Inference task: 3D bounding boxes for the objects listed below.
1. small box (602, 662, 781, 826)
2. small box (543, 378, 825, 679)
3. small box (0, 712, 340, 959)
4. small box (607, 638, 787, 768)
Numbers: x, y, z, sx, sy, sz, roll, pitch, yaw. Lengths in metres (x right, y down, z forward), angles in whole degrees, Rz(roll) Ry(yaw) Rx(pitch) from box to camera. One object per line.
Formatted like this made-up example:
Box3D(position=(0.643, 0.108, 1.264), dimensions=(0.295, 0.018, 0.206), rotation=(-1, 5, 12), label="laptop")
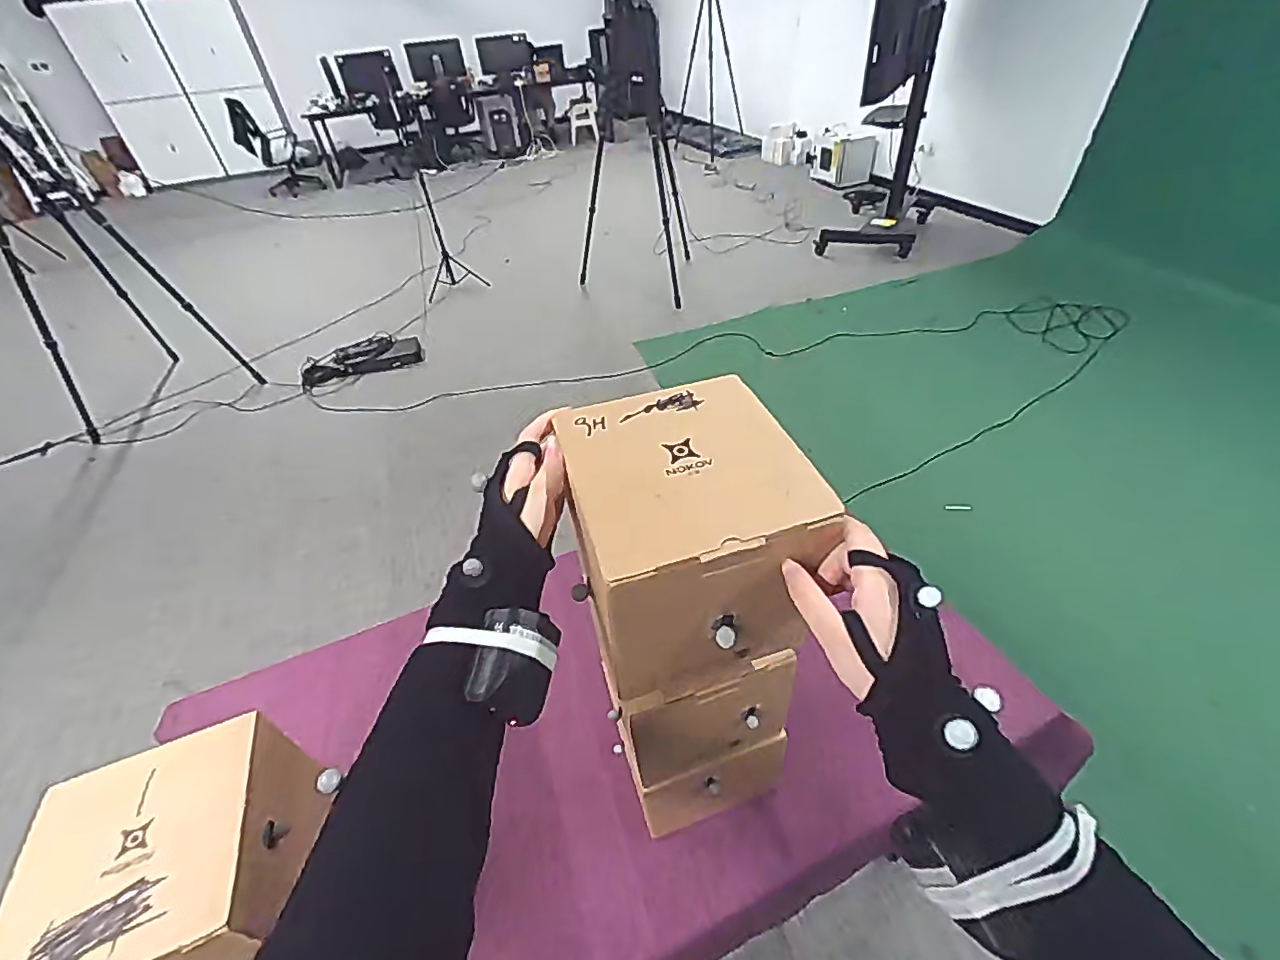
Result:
Box3D(position=(0.064, 0.316, 0.703), dimensions=(0.179, 0.176, 0.168), rotation=(-16, 44, -9), label="small box")
Box3D(position=(0.027, 0.045, 0.455), dimensions=(0.168, 0.176, 0.179), rotation=(-14, 47, -10), label="small box")
Box3D(position=(-0.391, 0.353, 0.485), dimensions=(0.168, 0.176, 0.179), rotation=(-19, 42, -14), label="small box")
Box3D(position=(0.045, 0.191, 0.600), dimensions=(0.168, 0.176, 0.179), rotation=(-16, 42, -10), label="small box")
